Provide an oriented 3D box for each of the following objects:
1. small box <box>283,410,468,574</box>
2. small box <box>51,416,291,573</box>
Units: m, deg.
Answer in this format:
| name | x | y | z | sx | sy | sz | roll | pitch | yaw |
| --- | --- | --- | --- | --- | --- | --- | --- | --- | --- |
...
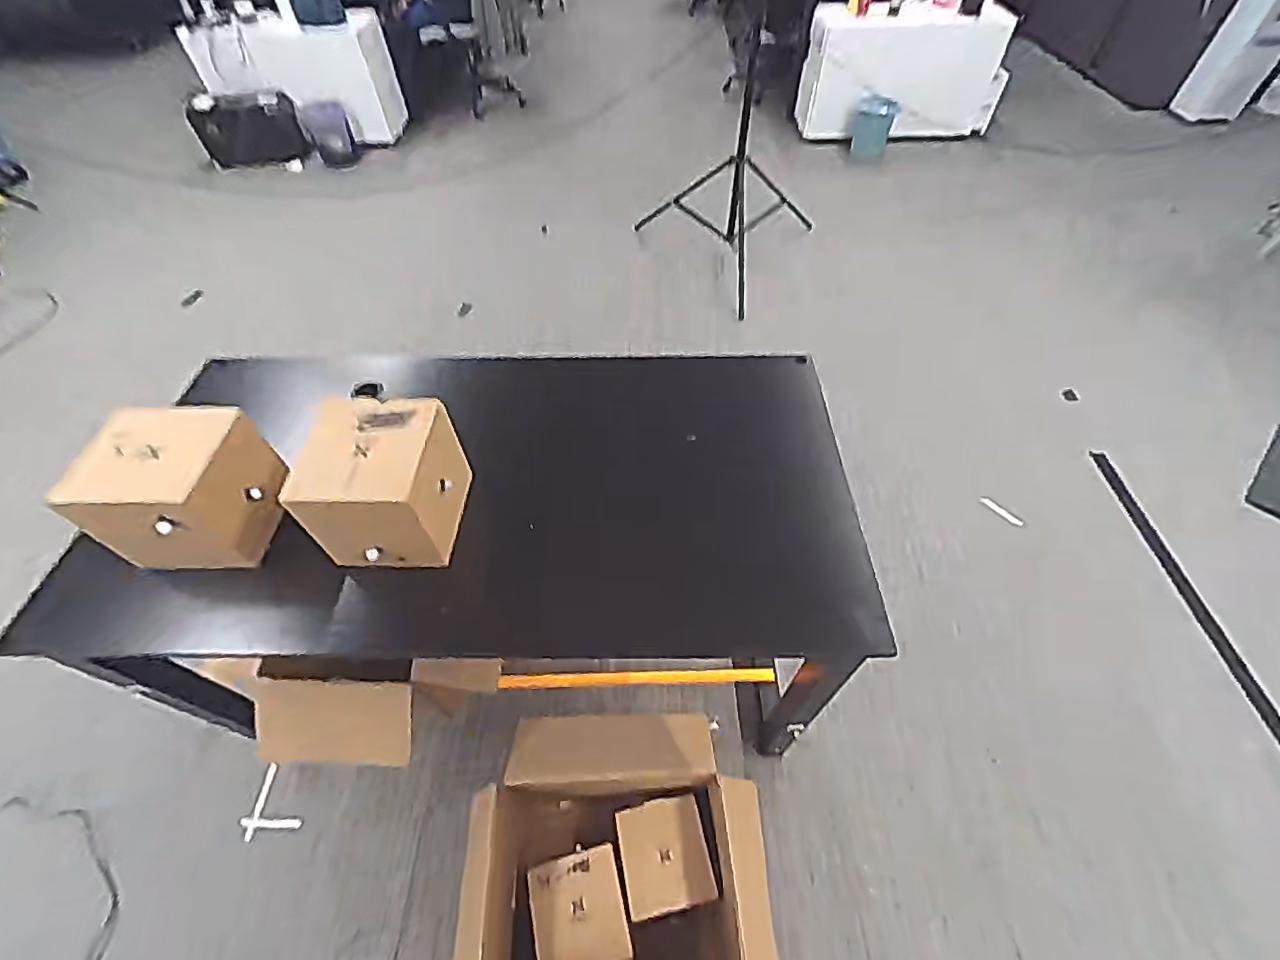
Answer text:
| name | x | y | z | sx | sy | sz | roll | pitch | yaw |
| --- | --- | --- | --- | --- | --- | --- | --- | --- | --- |
| small box | -0.364 | 0.018 | 0.788 | 0.168 | 0.176 | 0.179 | 0 | 52 | 2 |
| small box | -0.649 | 0.025 | 0.785 | 0.179 | 0.176 | 0.168 | -1 | 51 | 0 |
